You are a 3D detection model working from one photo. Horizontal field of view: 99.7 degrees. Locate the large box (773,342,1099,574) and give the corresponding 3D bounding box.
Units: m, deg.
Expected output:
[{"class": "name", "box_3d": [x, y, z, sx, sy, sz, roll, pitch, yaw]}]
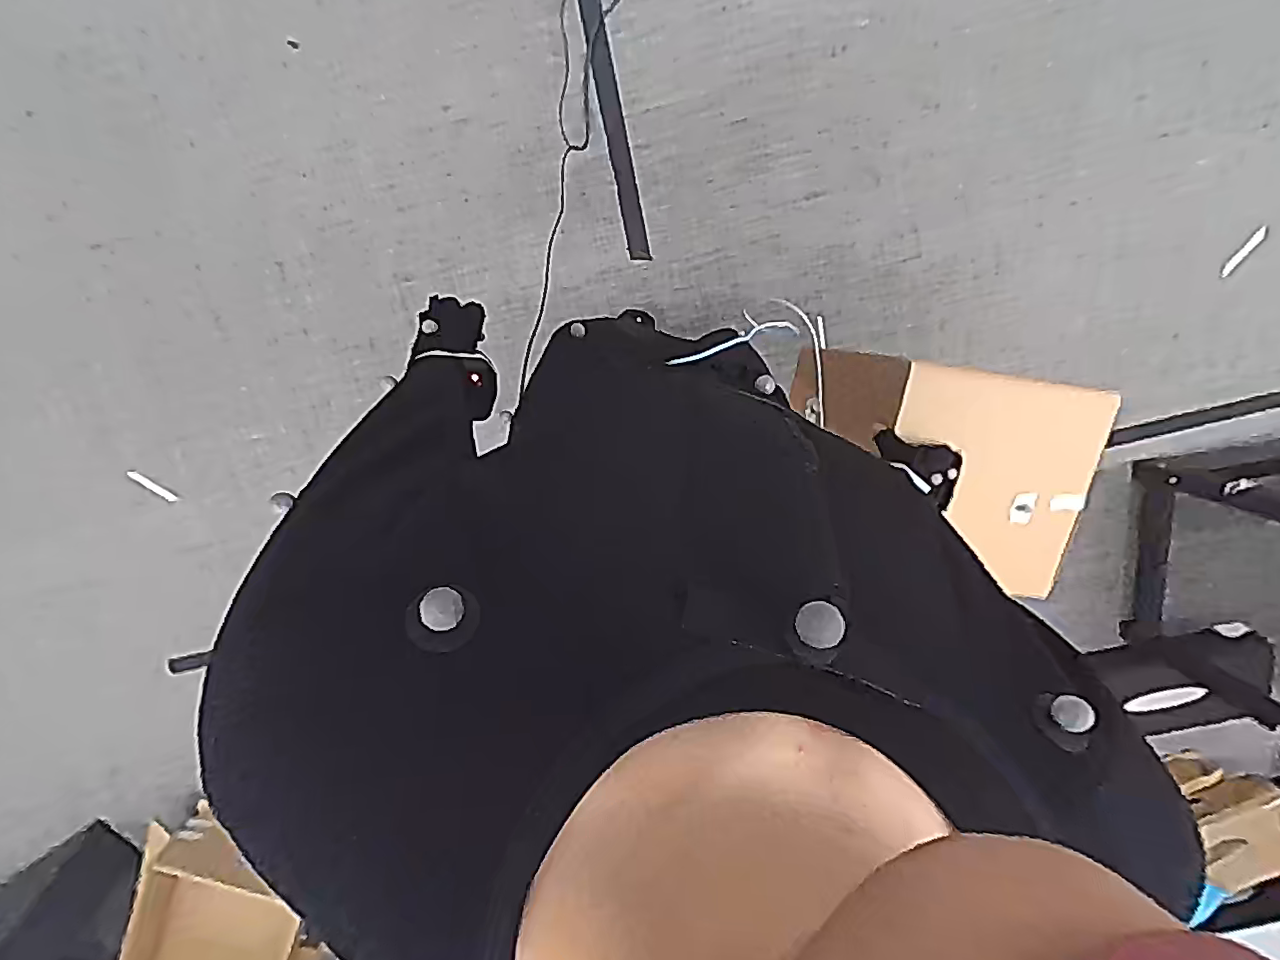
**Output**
[{"class": "large box", "box_3d": [0.466, -0.064, 0.957, 0.320, 0.408, 0.320, 7, 107, -5]}]
